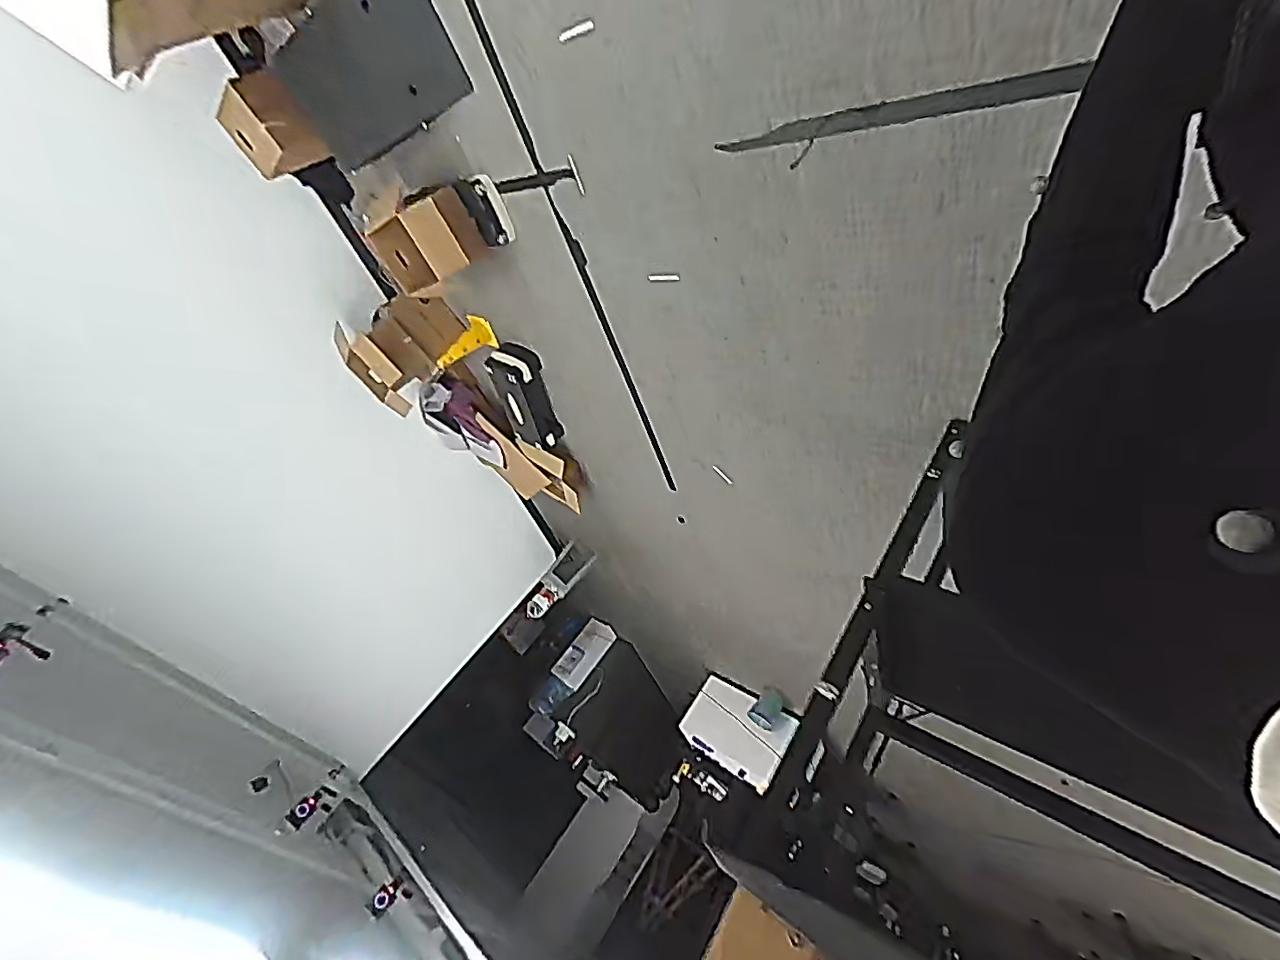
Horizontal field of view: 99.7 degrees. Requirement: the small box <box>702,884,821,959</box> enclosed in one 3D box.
[{"bbox_3d":[0.238,0.932,1.056,0.168,0.176,0.179,18,148,37],"label":"small box"}]
